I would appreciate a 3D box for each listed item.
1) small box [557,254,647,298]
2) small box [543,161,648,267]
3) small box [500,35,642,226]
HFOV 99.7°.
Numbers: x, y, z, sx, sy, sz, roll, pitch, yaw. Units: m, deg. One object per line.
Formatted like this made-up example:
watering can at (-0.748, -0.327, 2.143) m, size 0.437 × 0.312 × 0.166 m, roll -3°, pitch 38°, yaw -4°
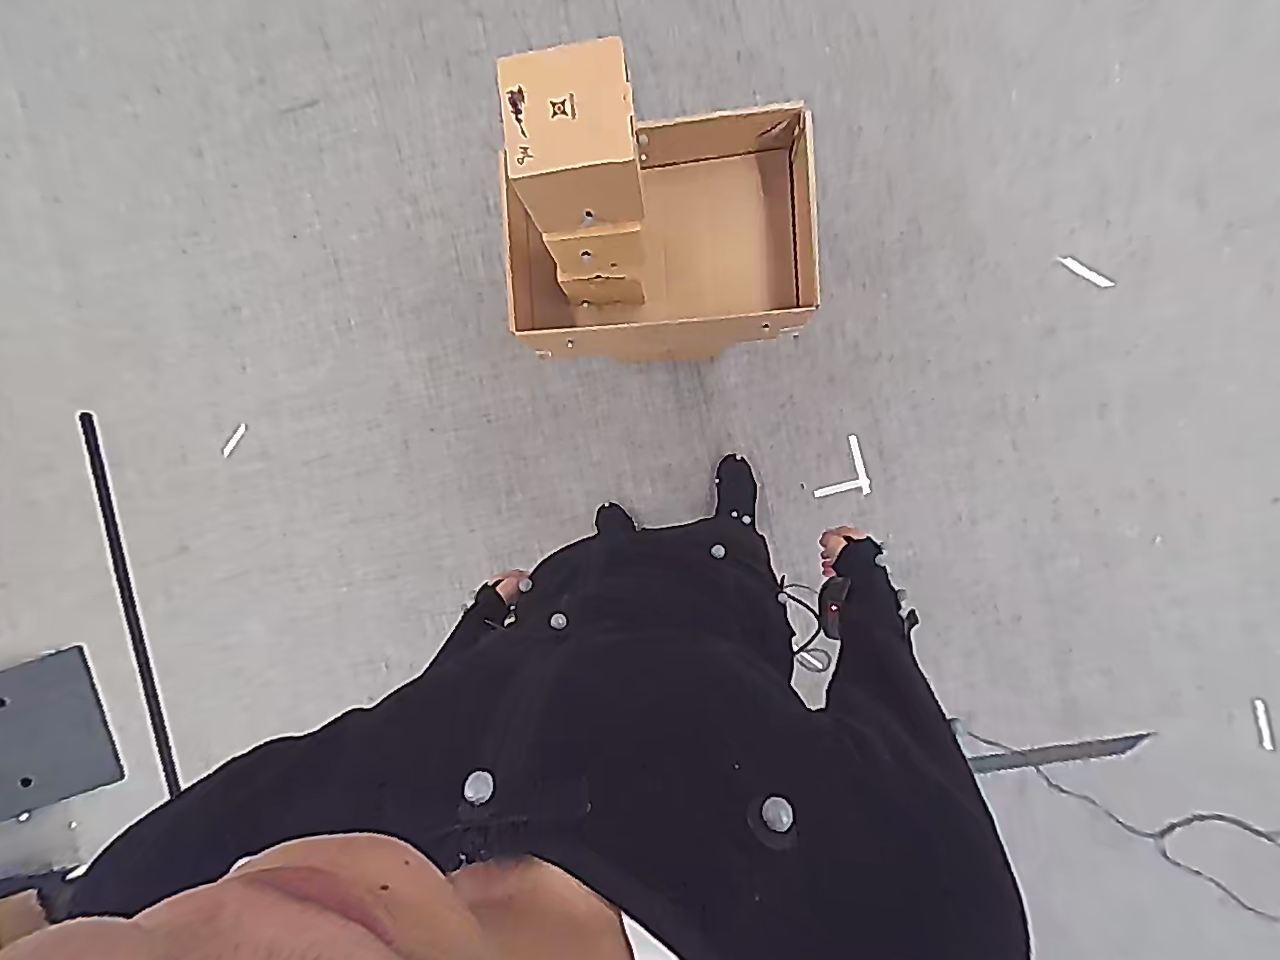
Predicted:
small box at (-0.072, -0.484, 1.121) m, size 0.168 × 0.176 × 0.179 m, roll 0°, pitch 91°, yaw 5°
small box at (-0.076, -0.491, 0.958) m, size 0.168 × 0.176 × 0.179 m, roll -4°, pitch 90°, yaw 4°
small box at (-0.090, -0.498, 0.794) m, size 0.179 × 0.176 × 0.168 m, roll -5°, pitch 90°, yaw 4°
